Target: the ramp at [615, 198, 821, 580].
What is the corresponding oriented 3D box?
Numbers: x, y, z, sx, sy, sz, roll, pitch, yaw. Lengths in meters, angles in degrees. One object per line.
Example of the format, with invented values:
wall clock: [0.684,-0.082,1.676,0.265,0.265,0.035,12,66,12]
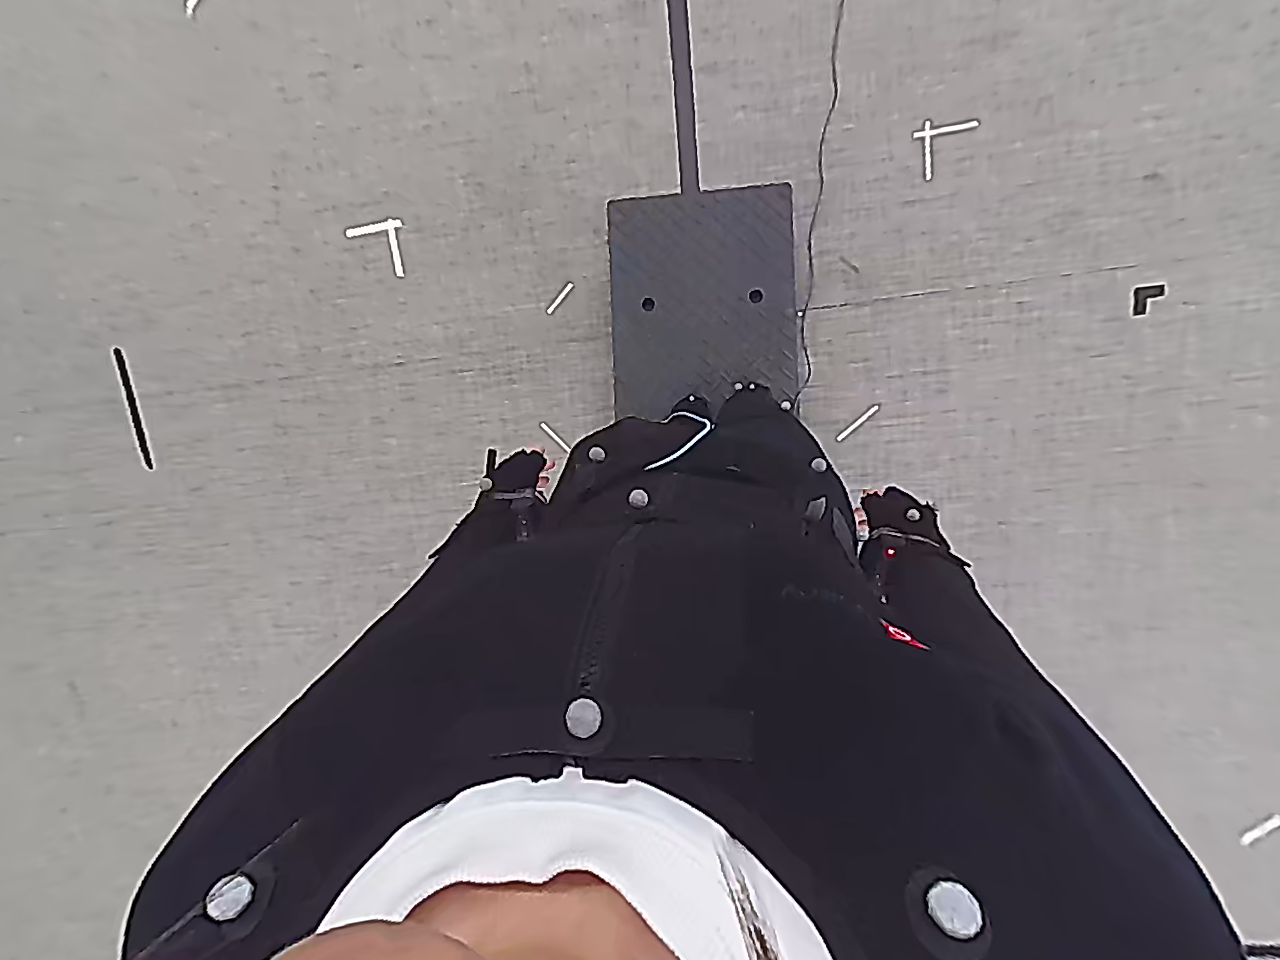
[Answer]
ramp: [0.196,-0.240,1.453,0.509,0.206,0.991,-5,97,9]
